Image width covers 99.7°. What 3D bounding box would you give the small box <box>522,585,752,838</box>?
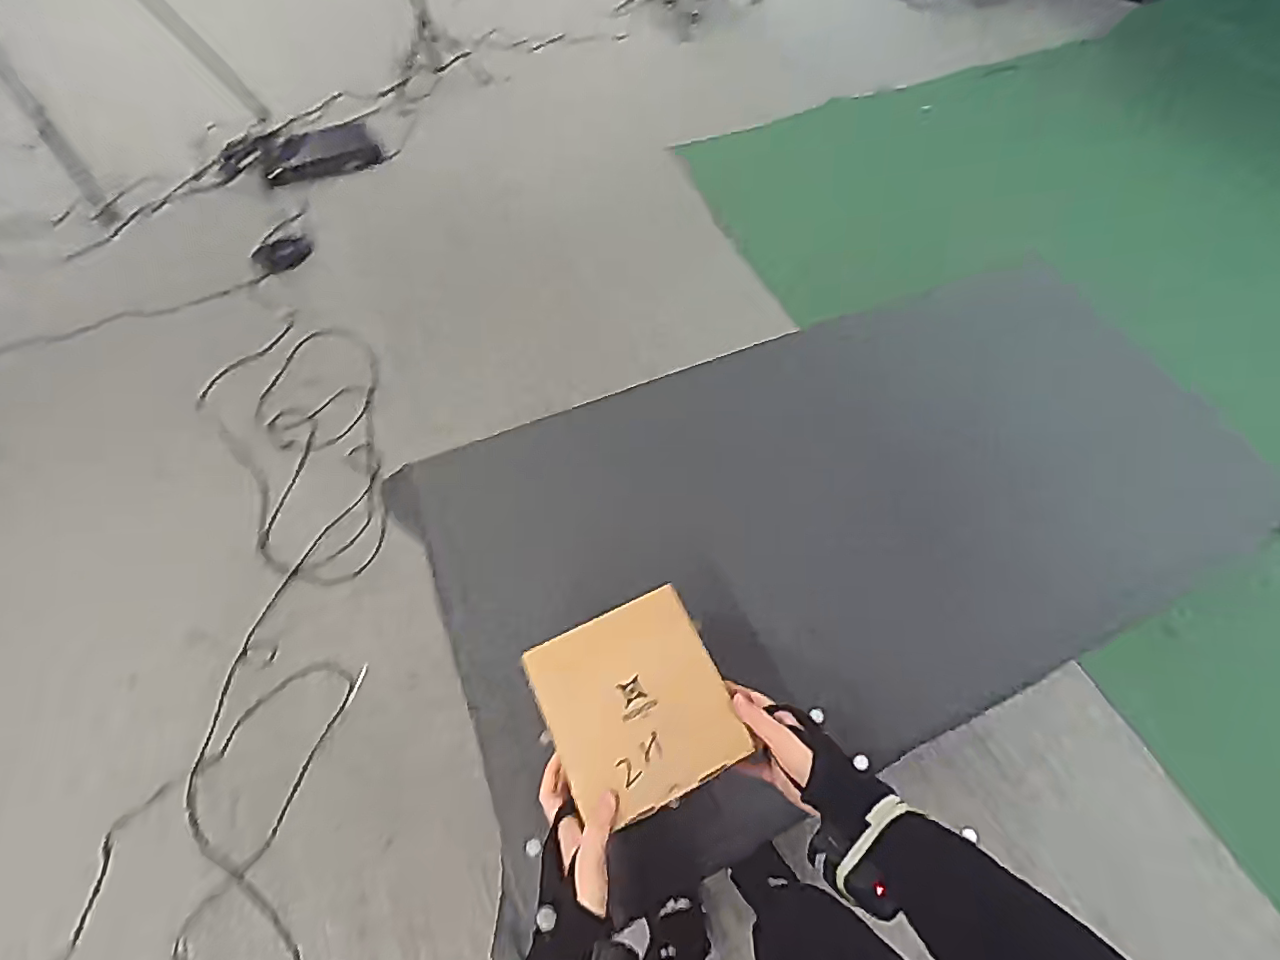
[{"bbox_3d":[-0.009,0.244,0.575,0.168,0.176,0.179,-23,64,-12],"label":"small box"}]
